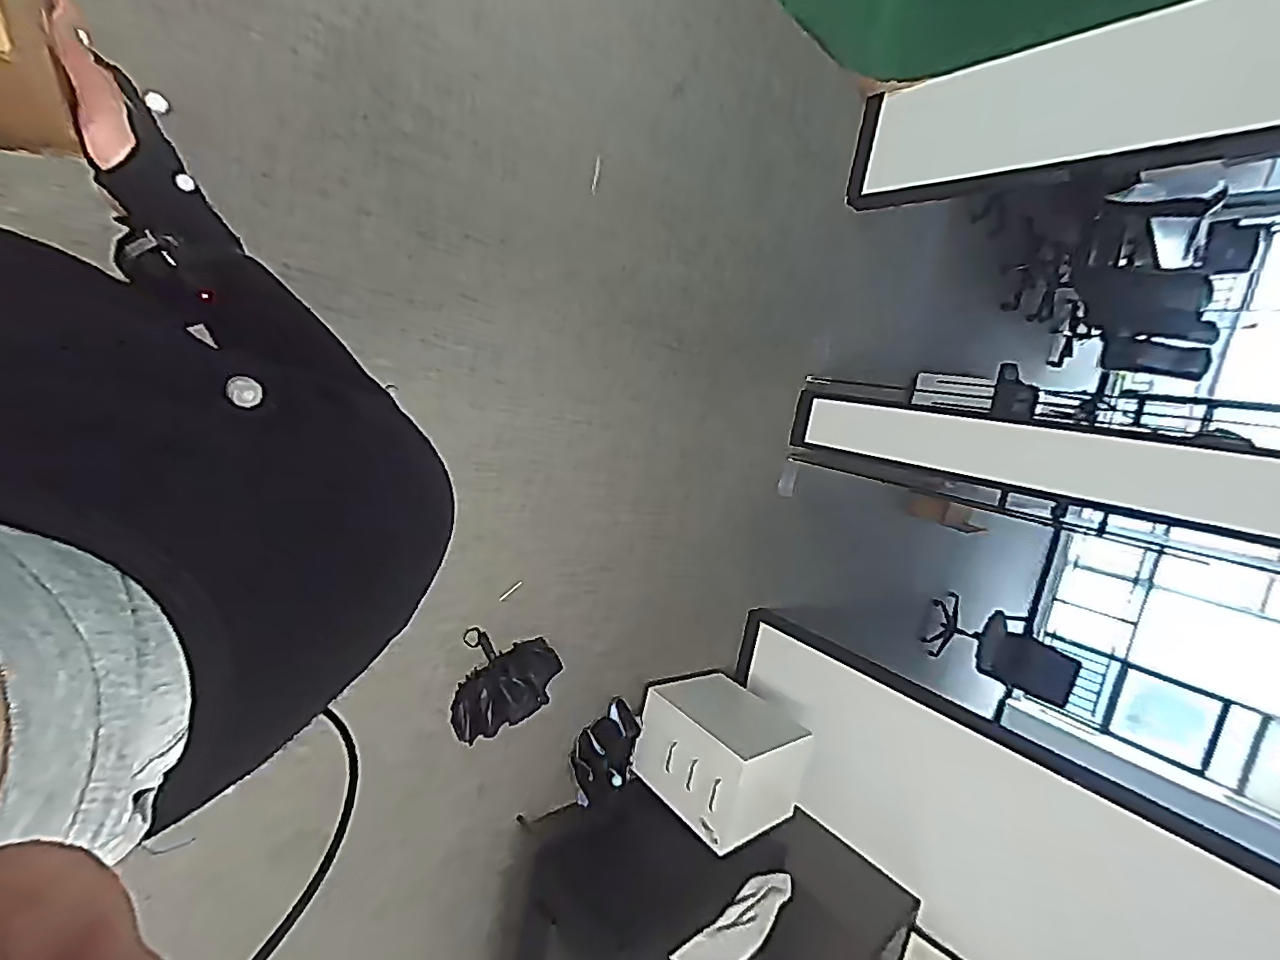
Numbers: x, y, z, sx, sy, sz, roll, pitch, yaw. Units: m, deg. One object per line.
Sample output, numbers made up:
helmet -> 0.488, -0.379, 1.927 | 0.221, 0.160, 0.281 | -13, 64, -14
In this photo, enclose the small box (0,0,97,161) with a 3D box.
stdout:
small box -> -0.465, -0.302, 0.306 | 0.179, 0.176, 0.168 | -15, 107, -34
